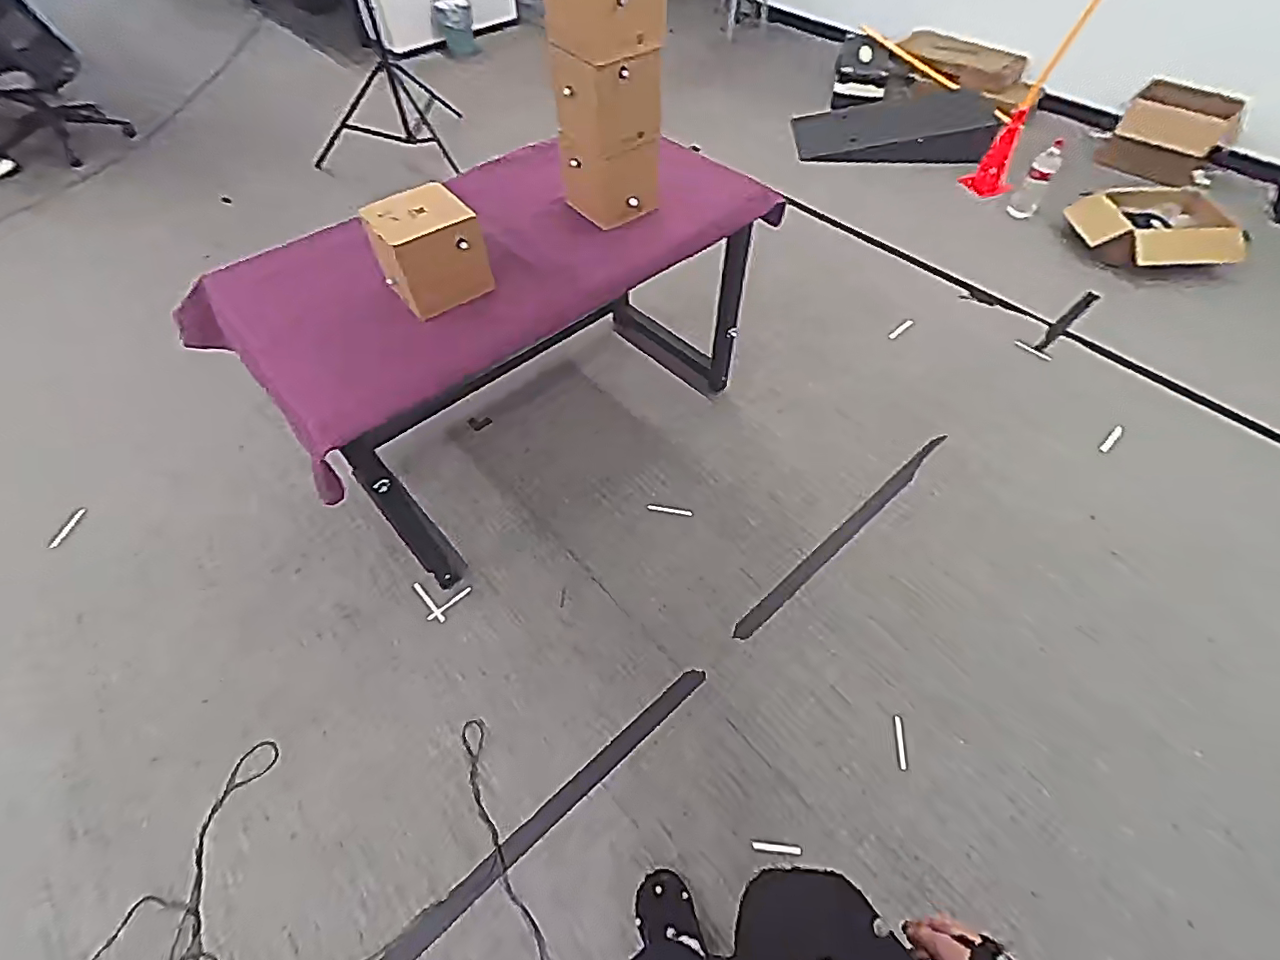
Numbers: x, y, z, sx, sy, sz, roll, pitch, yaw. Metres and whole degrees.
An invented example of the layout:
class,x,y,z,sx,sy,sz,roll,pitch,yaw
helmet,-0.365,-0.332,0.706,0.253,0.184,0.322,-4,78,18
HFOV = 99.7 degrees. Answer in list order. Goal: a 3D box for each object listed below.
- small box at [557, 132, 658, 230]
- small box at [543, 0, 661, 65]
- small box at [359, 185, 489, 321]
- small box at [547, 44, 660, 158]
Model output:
class,x,y,z,sx,sy,sz,roll,pitch,yaw
small box,-0.075,-0.727,1.283,0.168,0.176,0.179,-35,62,-20
small box,-0.071,-0.905,1.008,0.168,0.176,0.179,-33,61,-19
small box,-0.428,-0.460,1.104,0.179,0.176,0.168,-34,61,-20
small box,-0.074,-0.817,1.146,0.168,0.176,0.179,-33,61,-19
